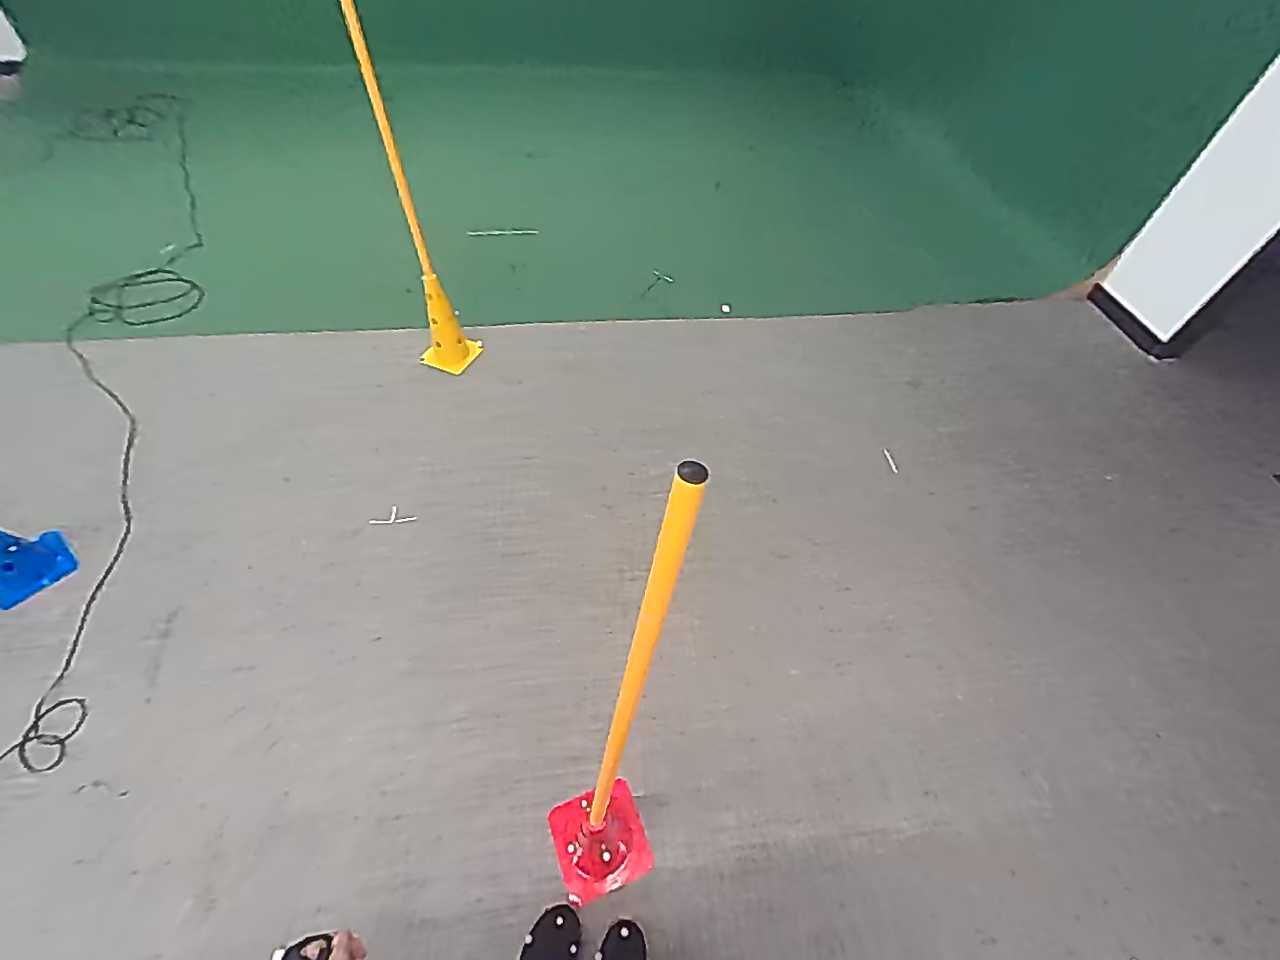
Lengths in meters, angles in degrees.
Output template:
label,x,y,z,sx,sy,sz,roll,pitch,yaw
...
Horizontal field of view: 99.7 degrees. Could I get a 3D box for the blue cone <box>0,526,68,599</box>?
label,x,y,z,sx,sy,sz,roll,pitch,yaw
blue cone,-1.783,0.144,1.432,0.192,0.380,0.193,34,60,20
